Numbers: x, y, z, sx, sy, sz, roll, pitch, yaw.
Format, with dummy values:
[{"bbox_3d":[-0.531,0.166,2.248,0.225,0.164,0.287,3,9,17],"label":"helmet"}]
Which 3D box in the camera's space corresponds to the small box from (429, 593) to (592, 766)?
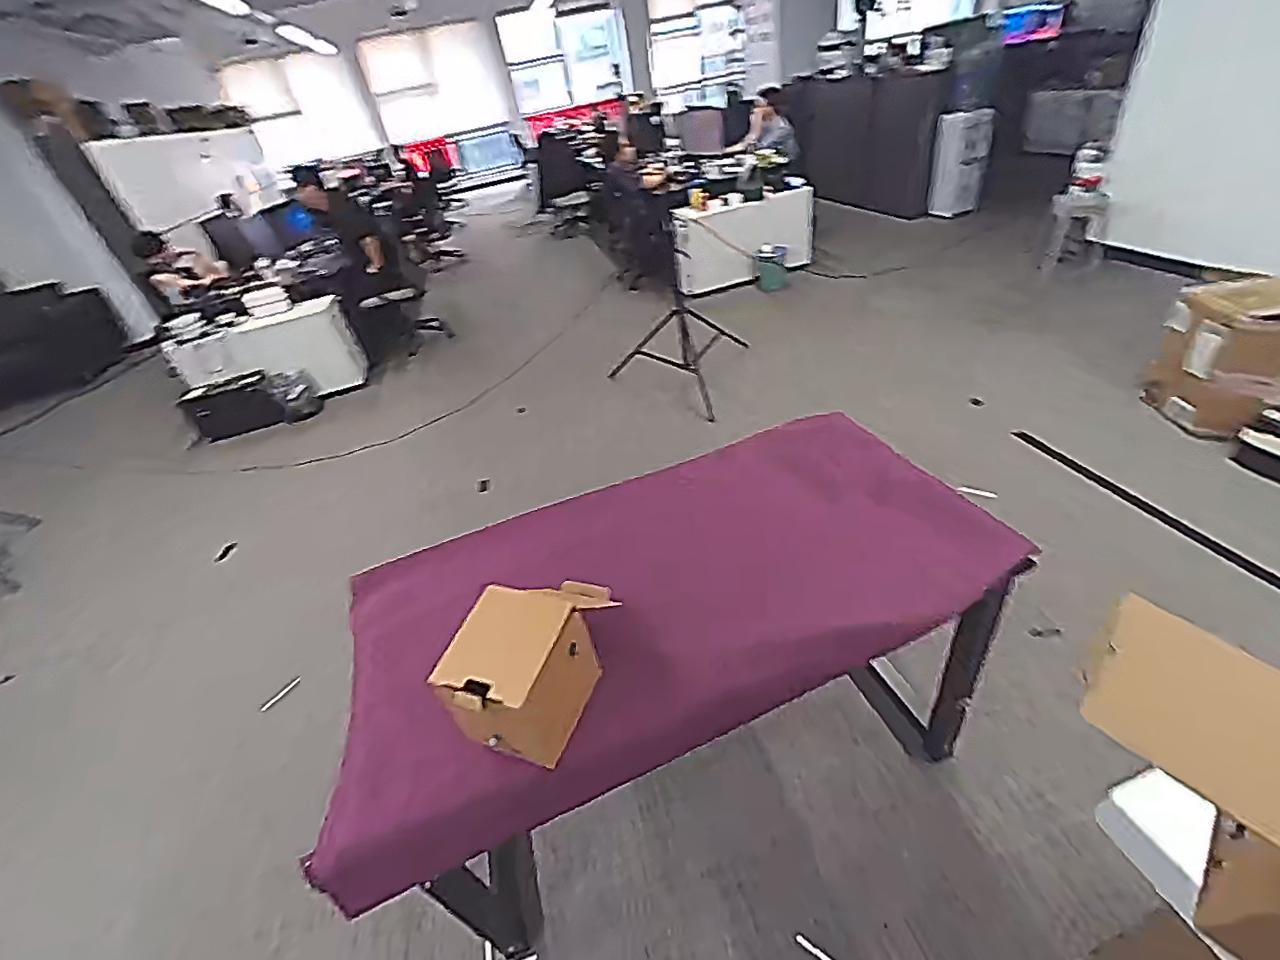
[{"bbox_3d":[-0.190,0.311,0.858,0.168,0.176,0.179,5,39,24],"label":"small box"}]
